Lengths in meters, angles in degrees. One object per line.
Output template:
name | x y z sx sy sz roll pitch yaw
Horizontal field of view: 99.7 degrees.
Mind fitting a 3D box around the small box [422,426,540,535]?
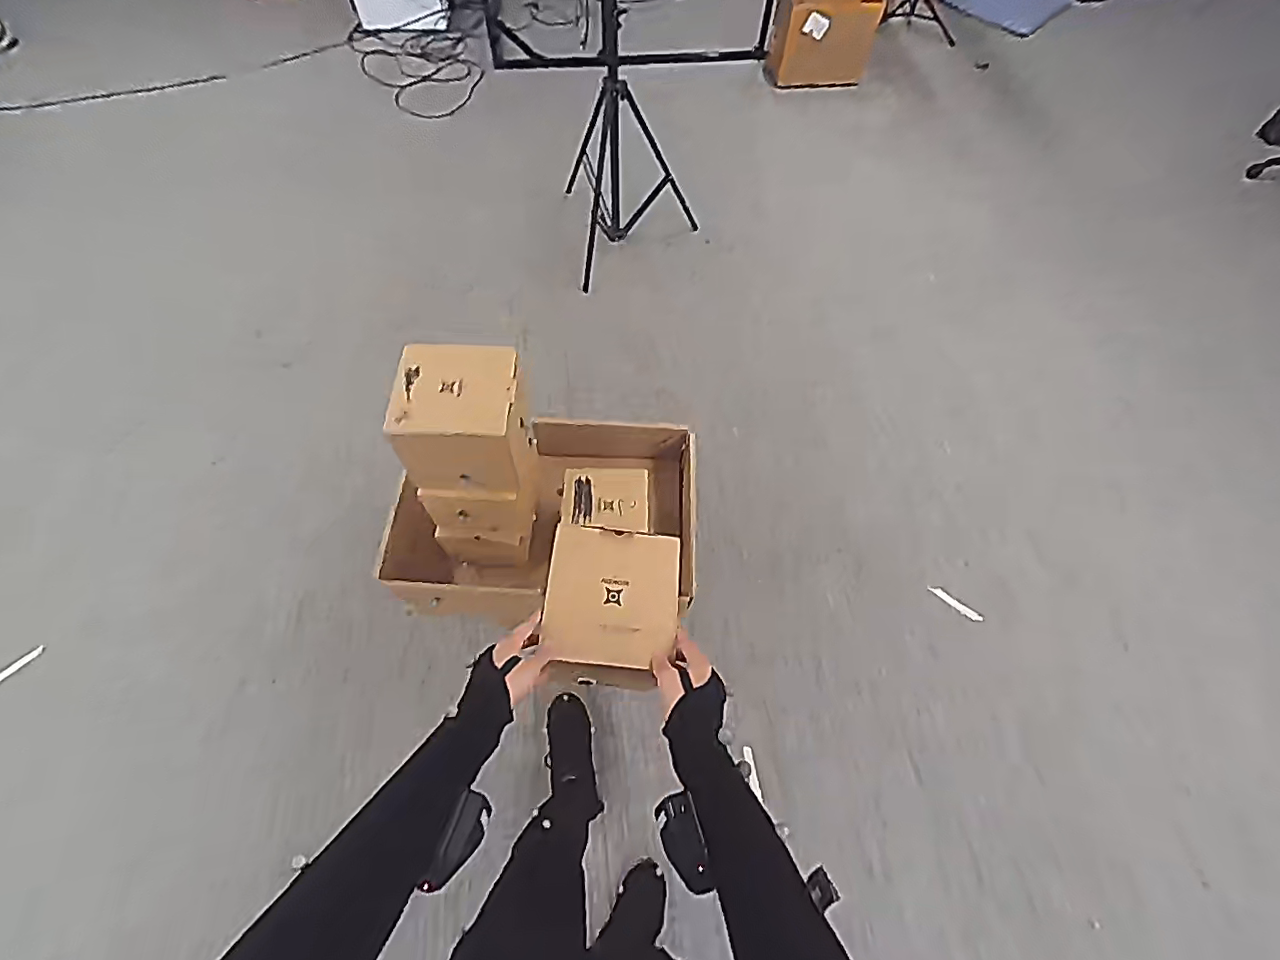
small box | -0.284 -0.006 1.008 0.168 0.176 0.179 3 61 -2

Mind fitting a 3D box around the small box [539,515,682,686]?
small box | -0.043 0.171 0.743 0.168 0.176 0.179 8 60 -5

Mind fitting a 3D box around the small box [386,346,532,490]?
small box | -0.275 -0.093 0.869 0.179 0.176 0.168 2 61 -3
